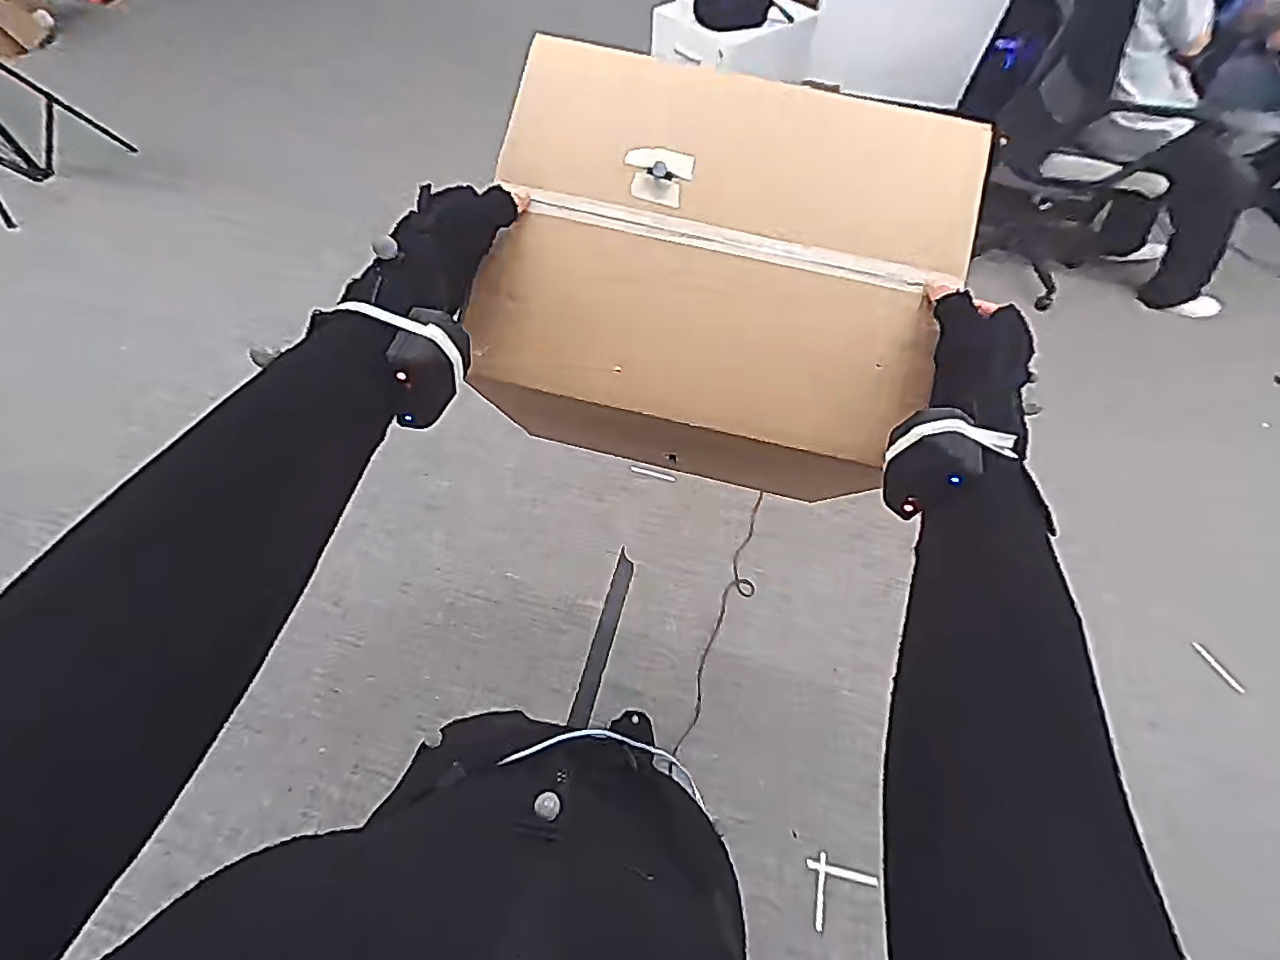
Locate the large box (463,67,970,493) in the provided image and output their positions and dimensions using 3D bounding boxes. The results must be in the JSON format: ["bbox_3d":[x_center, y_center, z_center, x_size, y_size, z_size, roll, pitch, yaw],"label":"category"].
[{"bbox_3d":[0.075,-0.180,0.624,0.408,0.320,0.320,13,84,3],"label":"large box"}]
